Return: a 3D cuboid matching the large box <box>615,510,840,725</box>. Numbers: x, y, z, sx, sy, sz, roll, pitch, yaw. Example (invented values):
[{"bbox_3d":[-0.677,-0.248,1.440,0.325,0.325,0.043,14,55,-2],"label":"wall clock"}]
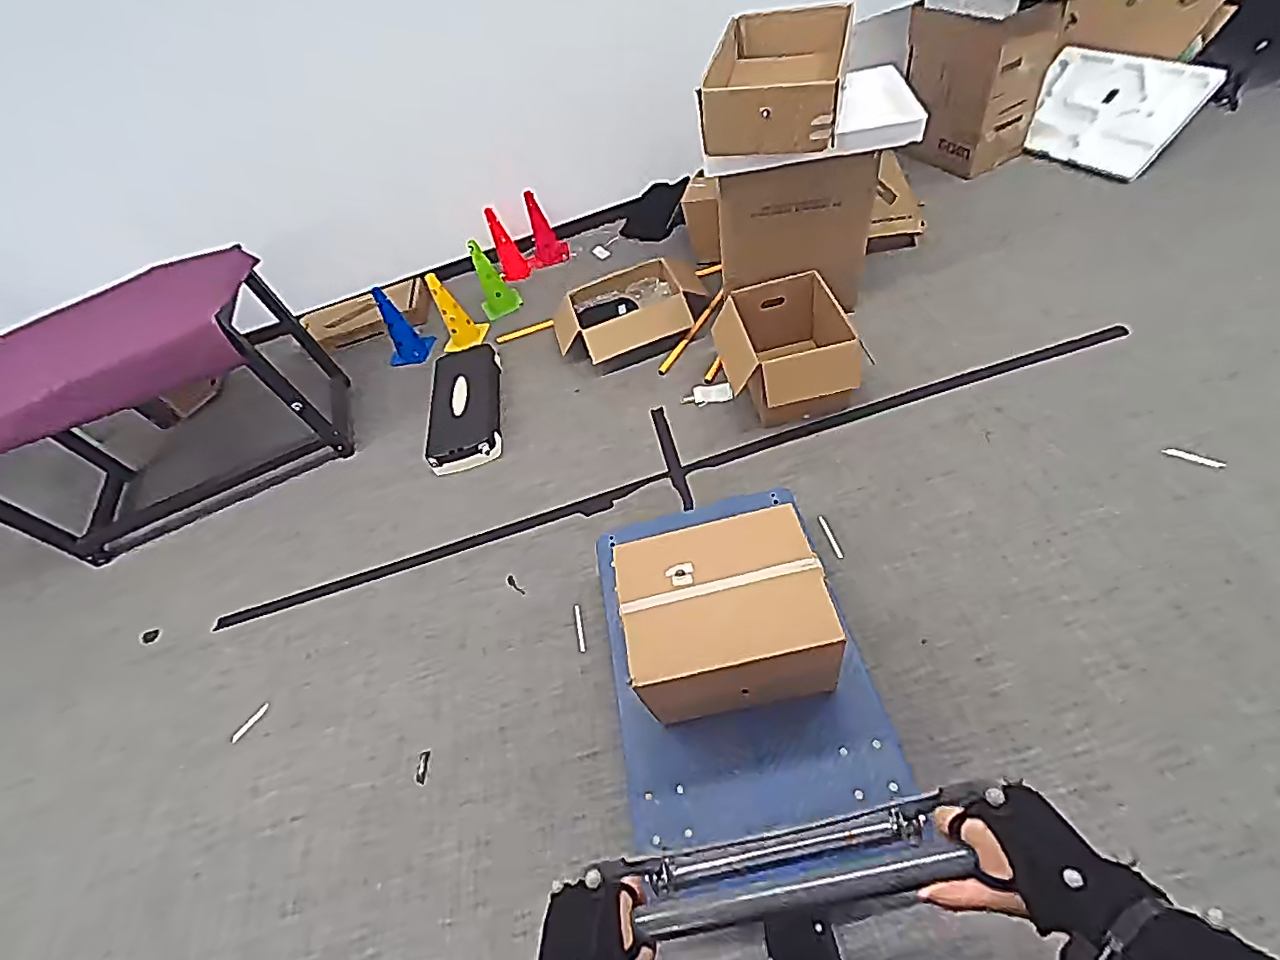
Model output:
[{"bbox_3d":[0.192,0.321,1.220,0.408,0.320,0.320,-16,50,5],"label":"large box"}]
